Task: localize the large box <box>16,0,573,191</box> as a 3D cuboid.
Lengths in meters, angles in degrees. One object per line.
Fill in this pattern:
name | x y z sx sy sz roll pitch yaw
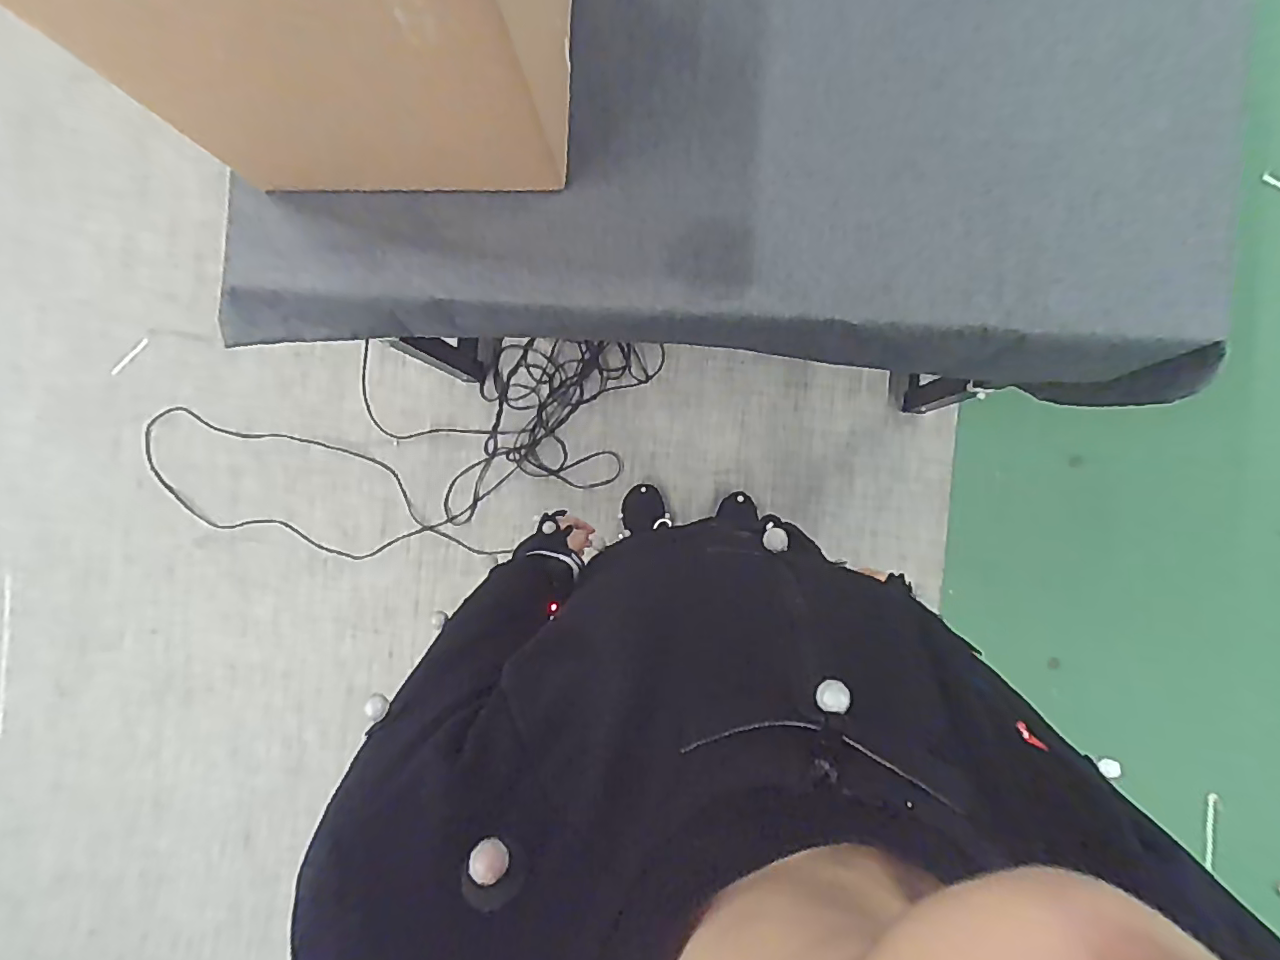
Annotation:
large box | -0.290 -0.521 0.535 0.408 0.320 0.320 1 90 3
